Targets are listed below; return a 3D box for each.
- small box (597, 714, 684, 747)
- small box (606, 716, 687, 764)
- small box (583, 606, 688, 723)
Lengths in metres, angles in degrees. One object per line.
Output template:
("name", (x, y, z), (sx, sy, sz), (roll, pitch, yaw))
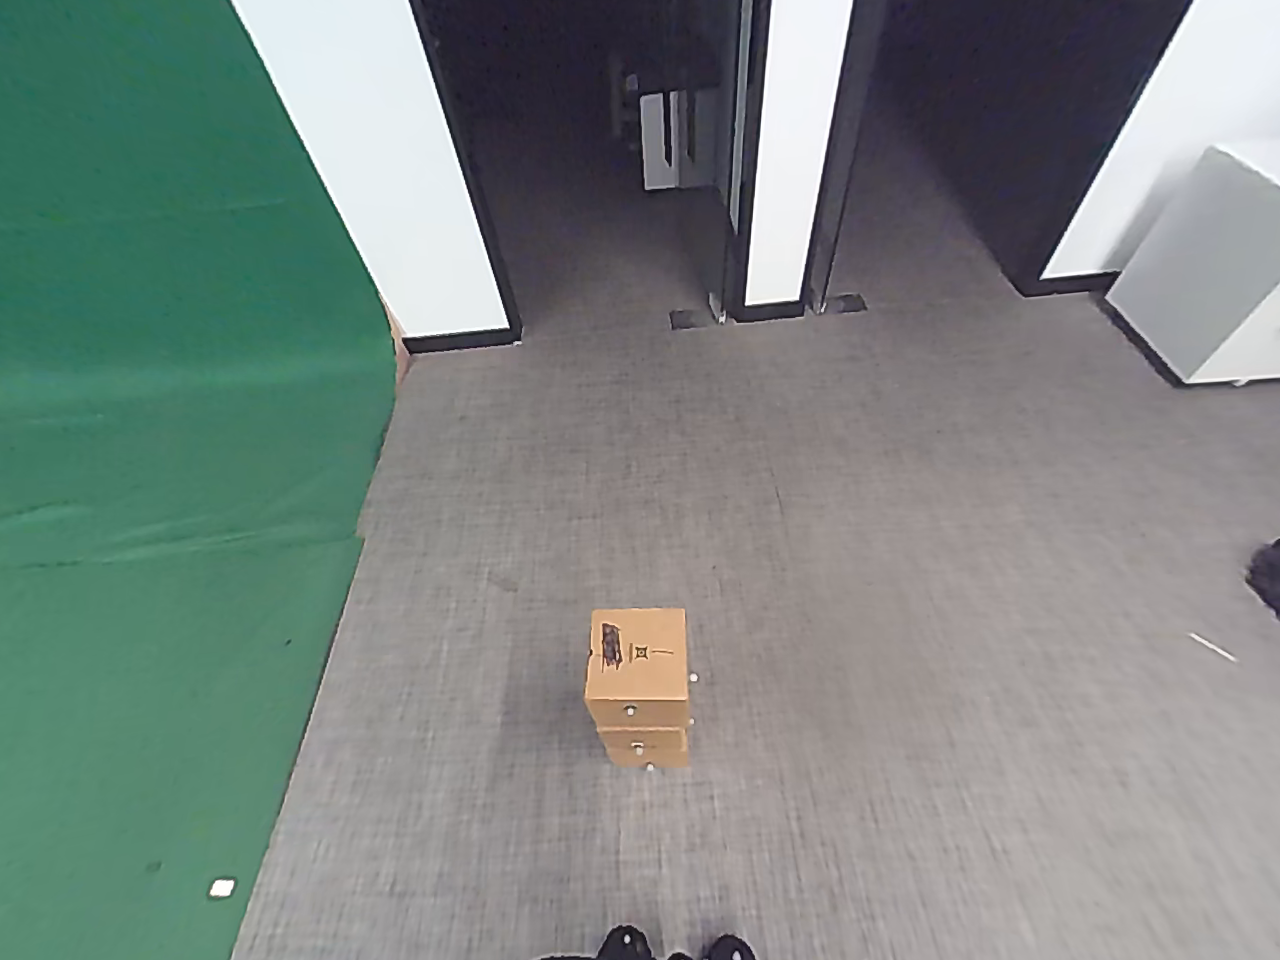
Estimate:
("small box", (0.006, 0.453, 1.147), (0.168, 0.176, 0.179), (-3, 52, 5))
("small box", (0.020, 0.558, 1.270), (0.179, 0.176, 0.168), (-1, 51, 4))
("small box", (0.000, 0.351, 1.019), (0.179, 0.176, 0.168), (-2, 52, 5))
